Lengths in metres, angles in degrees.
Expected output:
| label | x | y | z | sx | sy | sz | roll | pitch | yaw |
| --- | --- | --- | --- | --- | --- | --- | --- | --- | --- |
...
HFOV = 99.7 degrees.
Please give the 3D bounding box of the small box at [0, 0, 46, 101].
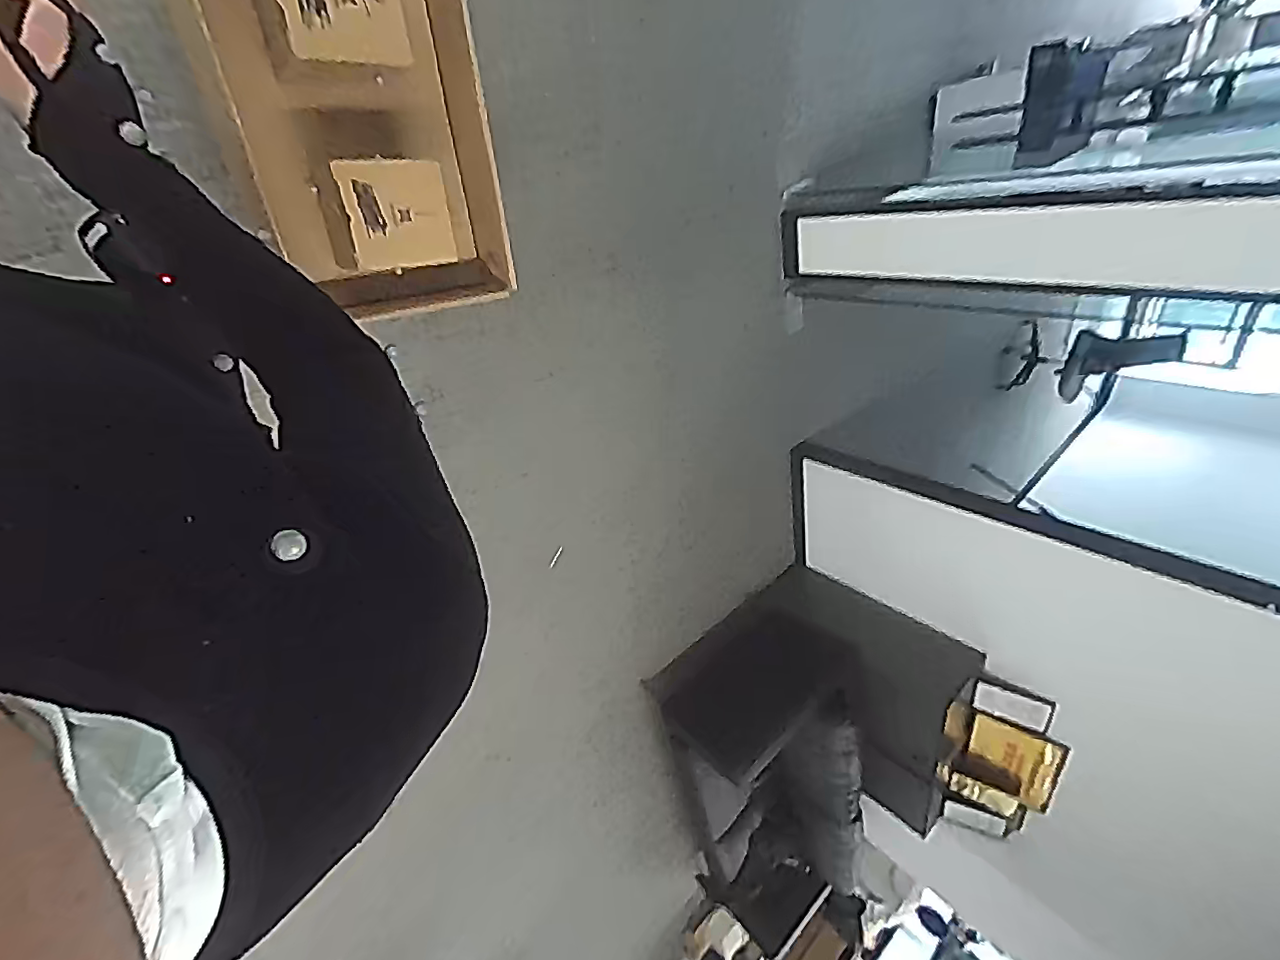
| label | x | y | z | sx | sy | sz | roll | pitch | yaw |
| --- | --- | --- | --- | --- | --- | --- | --- | --- | --- |
| small box | -0.555 | -0.425 | 0.386 | 0.168 | 0.176 | 0.179 | -5 | 98 | -45 |
